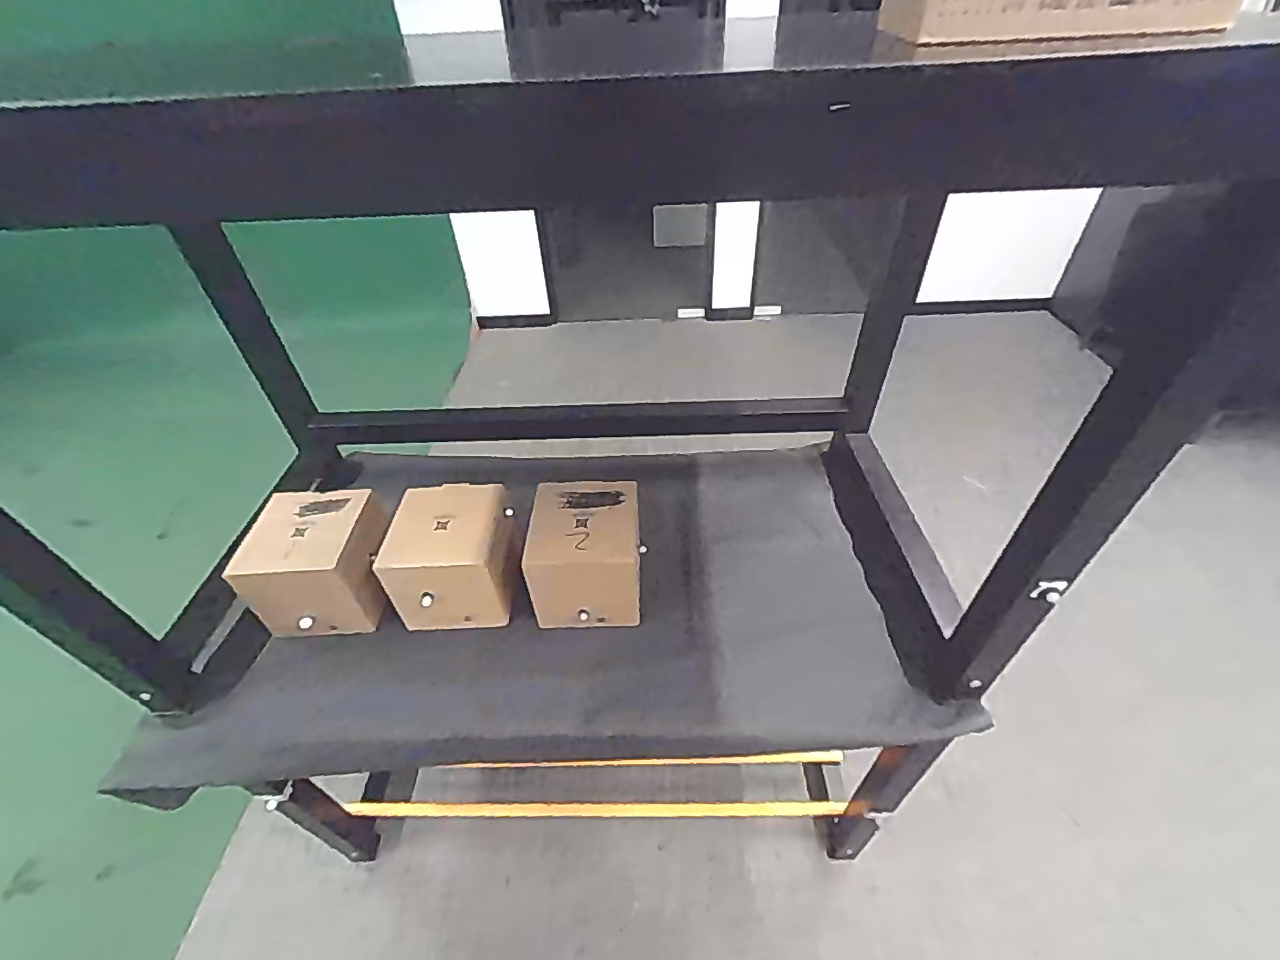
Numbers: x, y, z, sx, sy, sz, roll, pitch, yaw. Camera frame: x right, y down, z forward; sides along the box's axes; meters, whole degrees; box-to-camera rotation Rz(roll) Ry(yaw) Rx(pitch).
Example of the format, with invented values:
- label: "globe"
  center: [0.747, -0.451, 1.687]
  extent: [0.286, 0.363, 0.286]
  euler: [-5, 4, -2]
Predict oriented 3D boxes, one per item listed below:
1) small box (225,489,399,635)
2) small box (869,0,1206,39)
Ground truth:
- label: "small box"
  center: [-0.524, 0.135, 0.901]
  extent: [0.168, 0.176, 0.179]
  euler: [-3, 42, 0]
- label: "small box"
  center: [0.247, -0.376, 0.321]
  extent: [0.168, 0.176, 0.179]
  euler: [5, 42, 10]
